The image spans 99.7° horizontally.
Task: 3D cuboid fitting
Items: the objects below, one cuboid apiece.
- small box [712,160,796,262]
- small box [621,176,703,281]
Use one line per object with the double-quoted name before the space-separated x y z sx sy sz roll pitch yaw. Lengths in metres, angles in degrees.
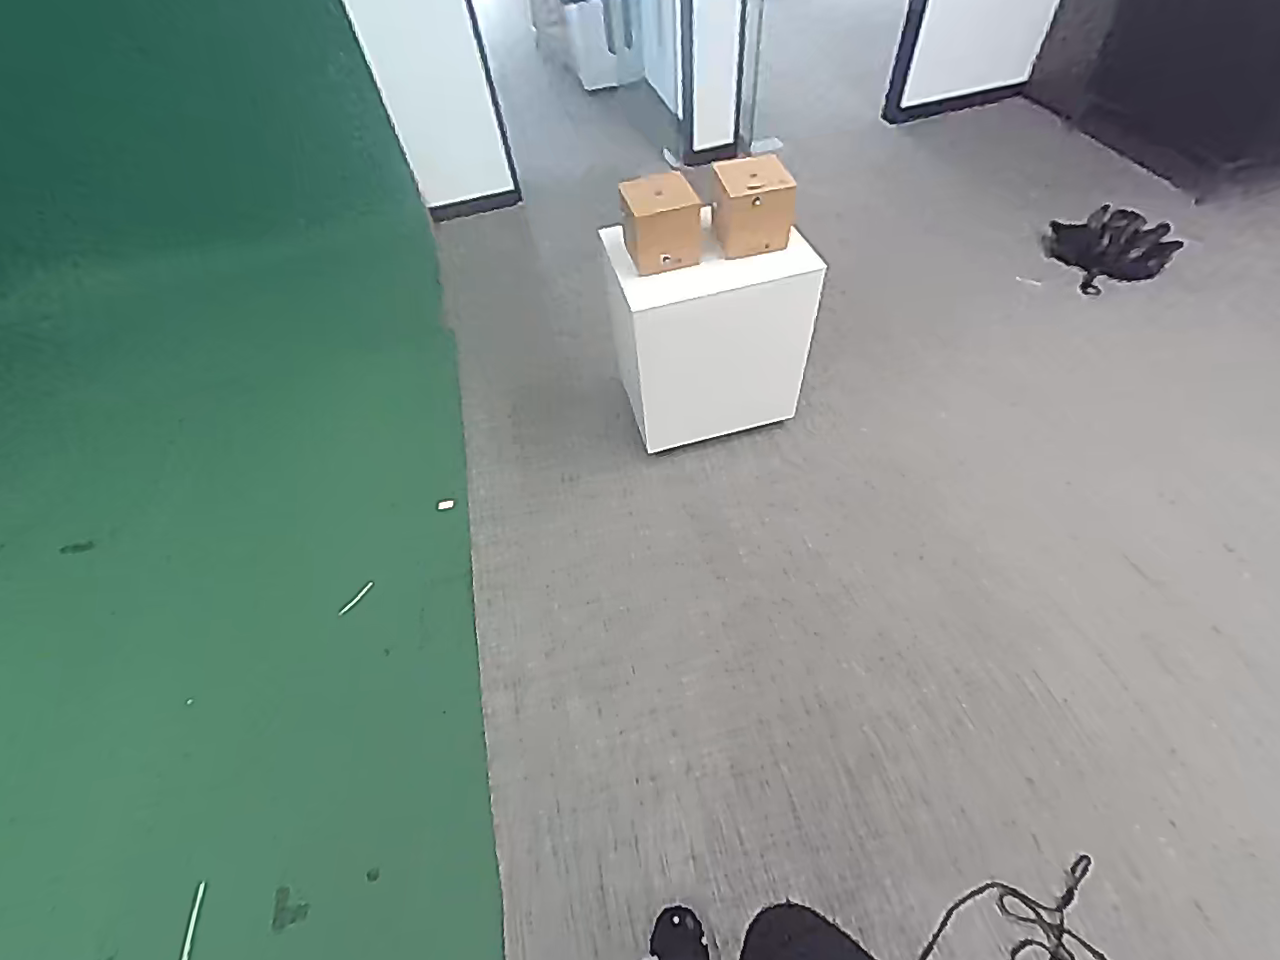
"small box" 0.286 -0.693 1.399 0.168 0.176 0.179 -12 53 -2
"small box" 0.055 -0.644 1.390 0.168 0.176 0.179 -16 56 -5
